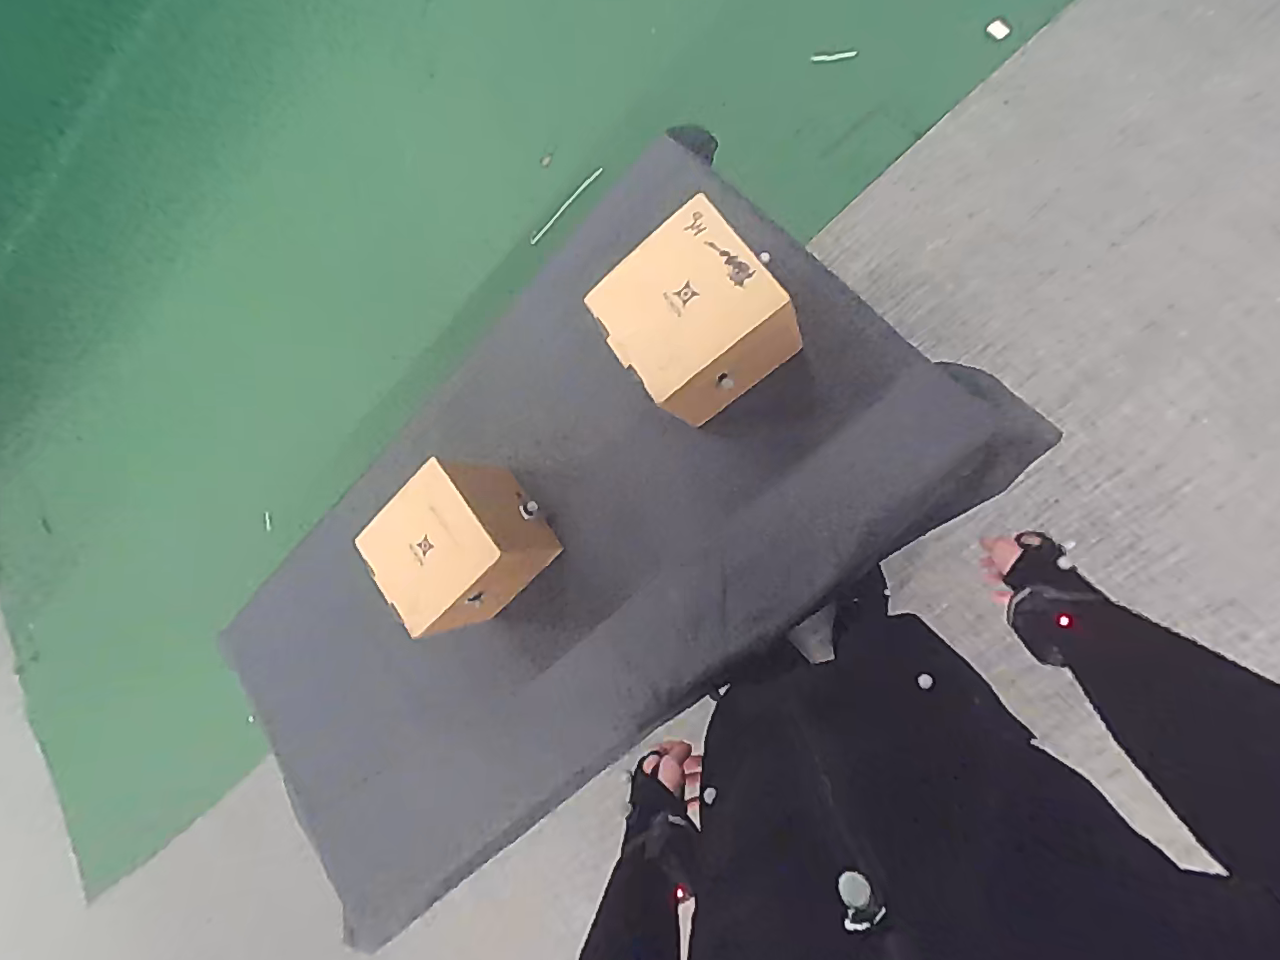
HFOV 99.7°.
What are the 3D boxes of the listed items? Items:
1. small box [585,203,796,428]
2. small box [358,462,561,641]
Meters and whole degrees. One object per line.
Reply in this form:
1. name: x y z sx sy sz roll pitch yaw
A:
1. small box: 0.071 -0.183 0.665 0.179 0.176 0.168 -37 75 15
2. small box: -0.246 0.098 0.768 0.179 0.176 0.168 -43 74 11
